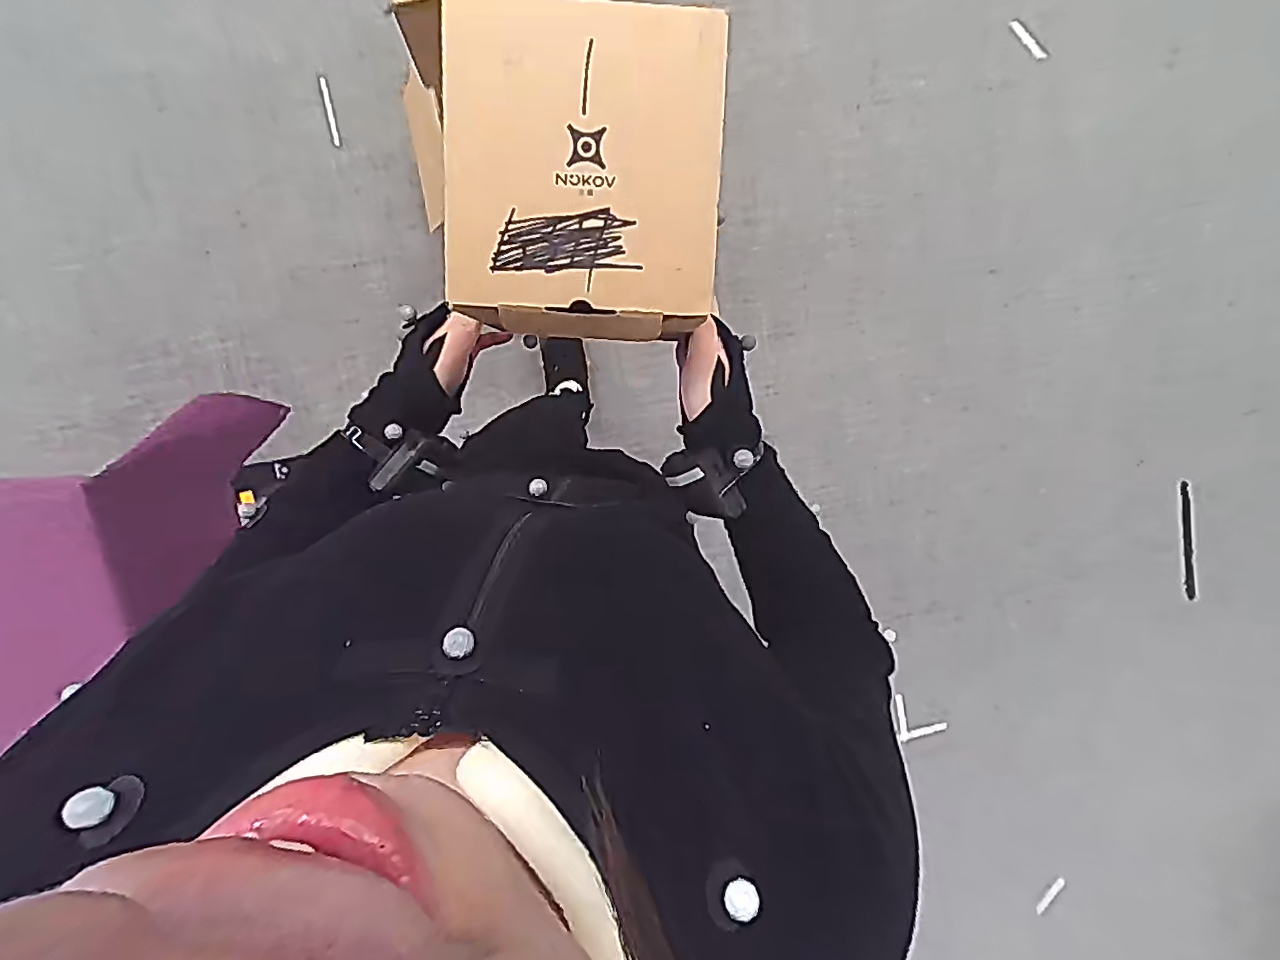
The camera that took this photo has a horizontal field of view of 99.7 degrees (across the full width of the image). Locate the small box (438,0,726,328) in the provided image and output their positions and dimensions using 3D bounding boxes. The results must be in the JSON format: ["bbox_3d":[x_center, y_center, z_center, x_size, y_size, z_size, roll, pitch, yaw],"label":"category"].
[{"bbox_3d":[-0.039,-0.210,0.398,0.168,0.176,0.179,2,99,-3],"label":"small box"}]

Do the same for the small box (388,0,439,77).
[{"bbox_3d":[-0.213,-0.603,0.622,0.168,0.176,0.179,-17,102,-7],"label":"small box"}]
